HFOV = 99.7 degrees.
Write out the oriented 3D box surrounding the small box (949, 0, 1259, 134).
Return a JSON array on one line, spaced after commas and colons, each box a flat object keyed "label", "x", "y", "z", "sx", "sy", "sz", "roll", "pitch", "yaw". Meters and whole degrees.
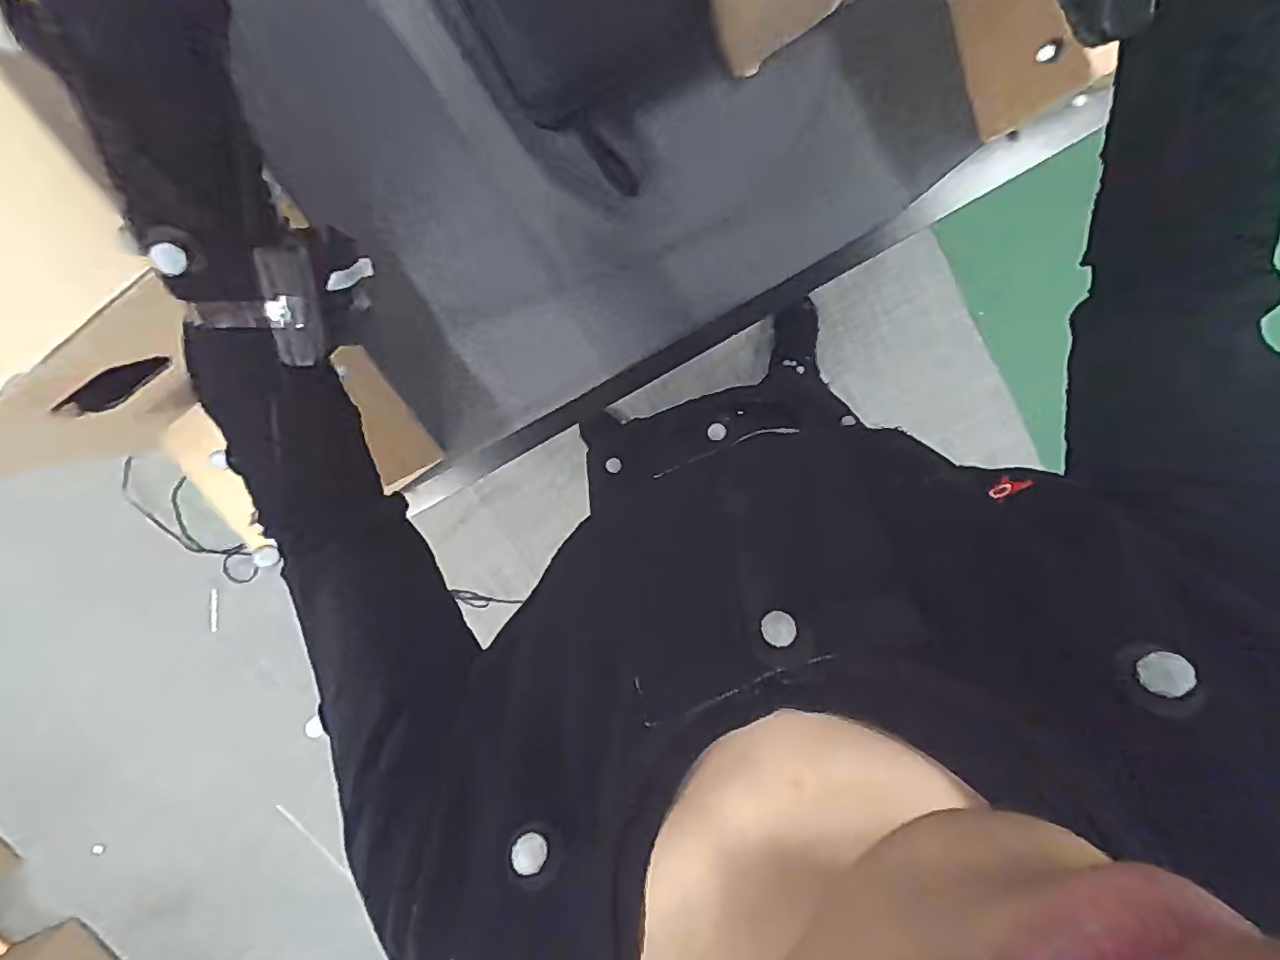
[{"label": "small box", "x": 0.421, "y": -0.471, "z": 0.505, "sx": 0.168, "sy": 0.176, "sz": 0.179, "roll": -23, "pitch": 105, "yaw": 8}]
